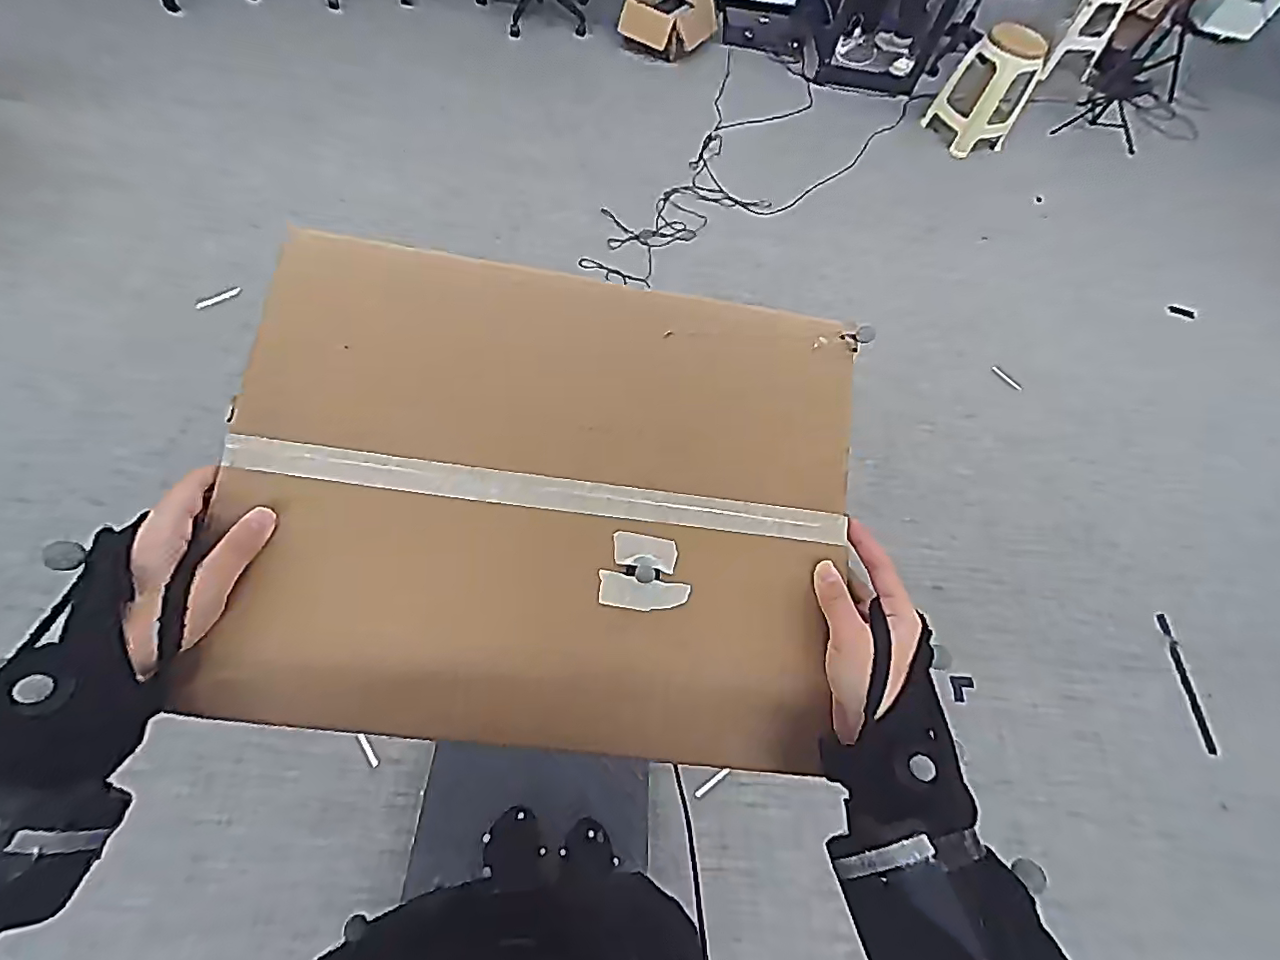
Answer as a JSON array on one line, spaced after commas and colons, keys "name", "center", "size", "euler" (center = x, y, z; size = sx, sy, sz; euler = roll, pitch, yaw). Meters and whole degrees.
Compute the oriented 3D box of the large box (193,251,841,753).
[{"name": "large box", "center": [-0.074, 0.037, 0.513], "size": [0.408, 0.320, 0.320], "euler": [8, 79, -5]}]
